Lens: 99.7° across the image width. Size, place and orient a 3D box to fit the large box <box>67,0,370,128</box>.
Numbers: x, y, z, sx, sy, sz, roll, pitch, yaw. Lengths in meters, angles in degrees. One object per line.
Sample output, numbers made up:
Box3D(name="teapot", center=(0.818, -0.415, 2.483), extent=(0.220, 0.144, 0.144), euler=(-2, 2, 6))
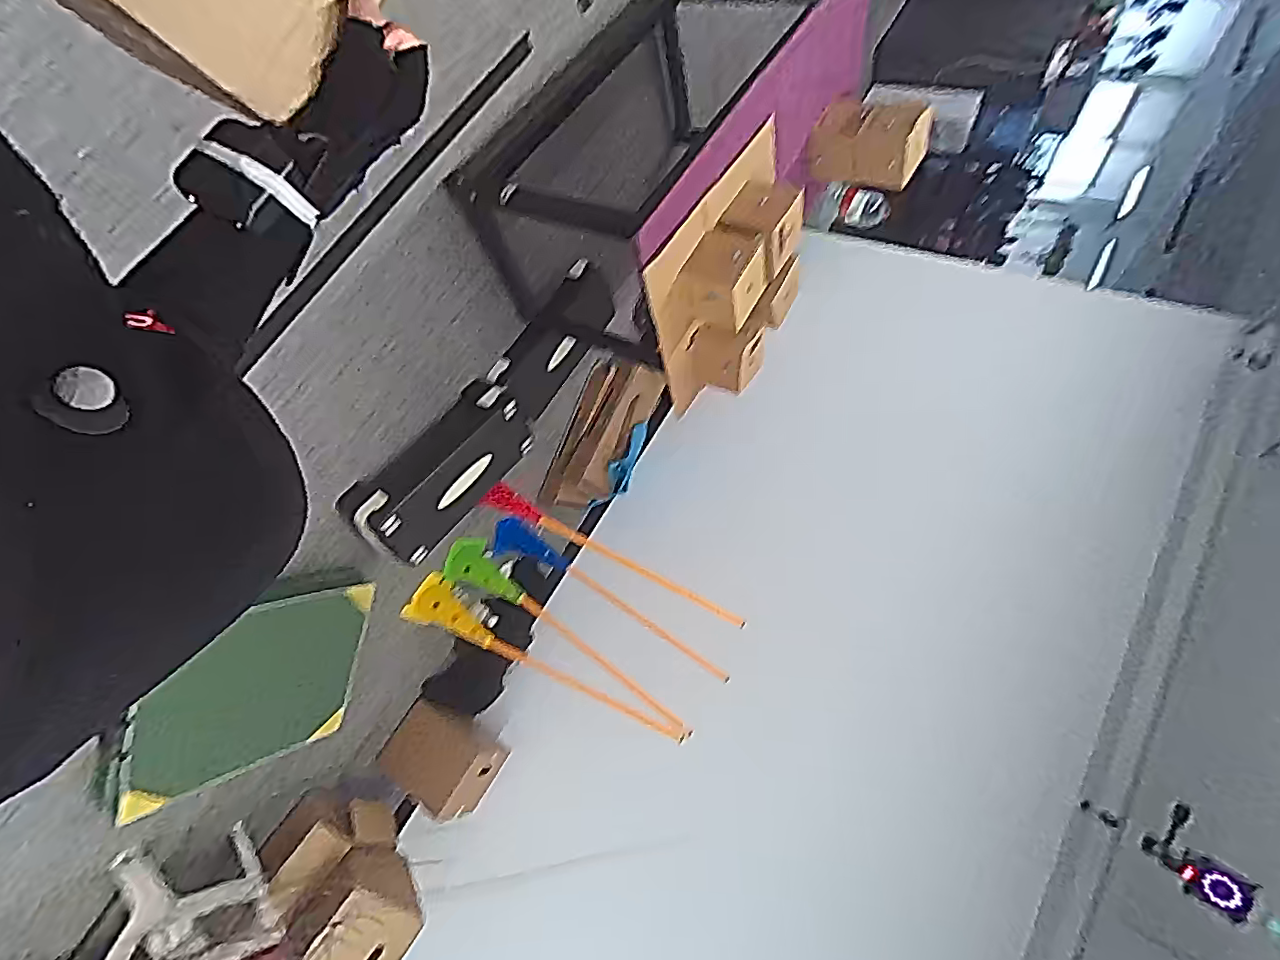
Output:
Box3D(name="large box", center=(-0.382, -0.514, 0.302), extent=(0.320, 0.320, 0.408), euler=(-56, 156, 3))
